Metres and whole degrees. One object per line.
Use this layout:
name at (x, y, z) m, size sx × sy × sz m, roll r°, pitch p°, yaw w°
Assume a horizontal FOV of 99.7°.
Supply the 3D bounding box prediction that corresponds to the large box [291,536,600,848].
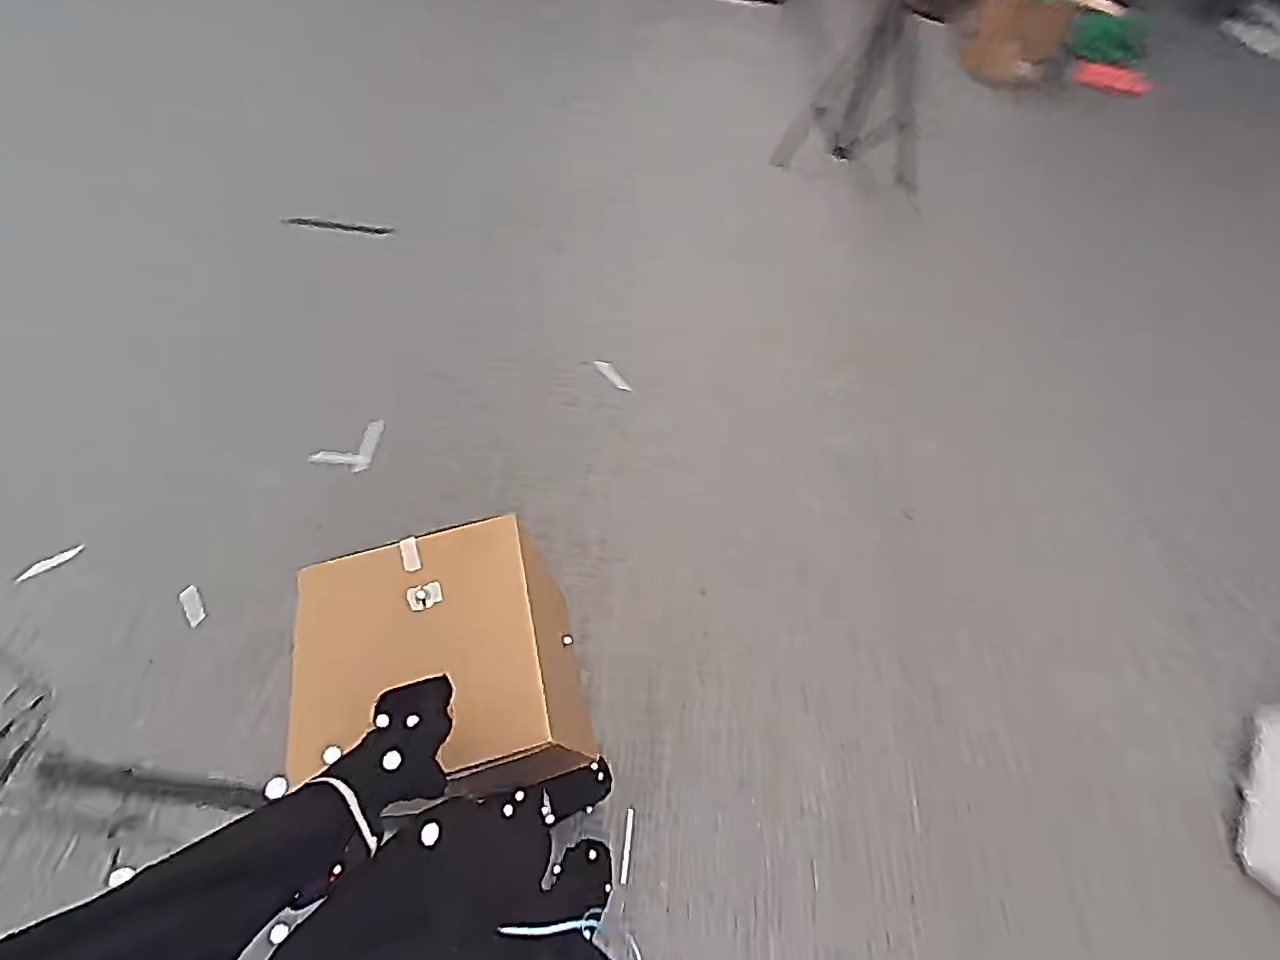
large box at (-0.275, 0.332, 0.853) m, size 0.320 × 0.408 × 0.320 m, roll -16°, pitch 62°, yaw -4°
